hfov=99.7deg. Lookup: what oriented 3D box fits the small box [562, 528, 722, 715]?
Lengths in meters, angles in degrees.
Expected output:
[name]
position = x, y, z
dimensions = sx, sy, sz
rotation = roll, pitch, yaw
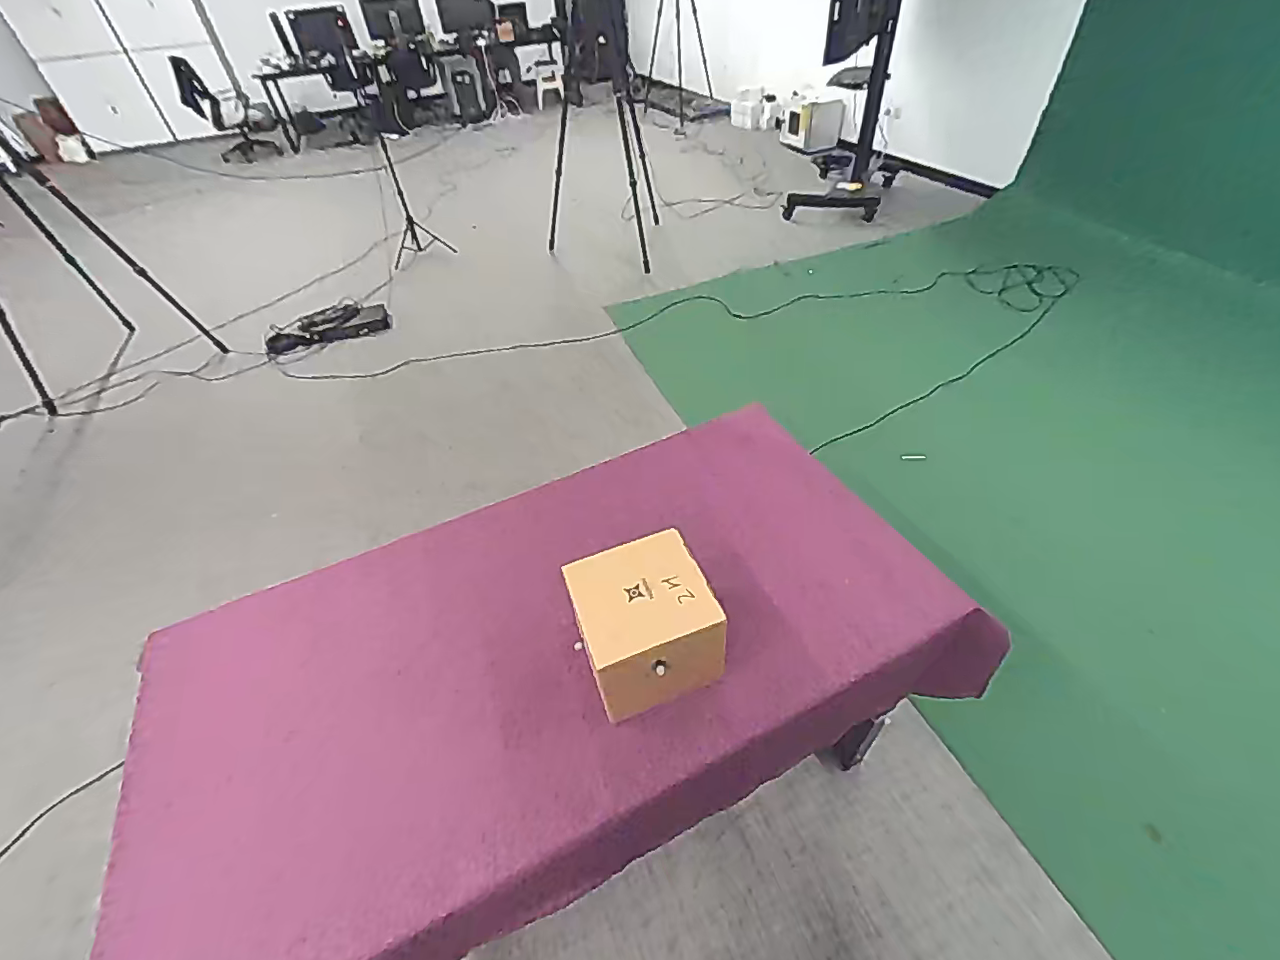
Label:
[small box]
position = 0.005, 0.203, 0.770
dimensions = 0.179, 0.176, 0.168
rotation = -18, 47, -11
